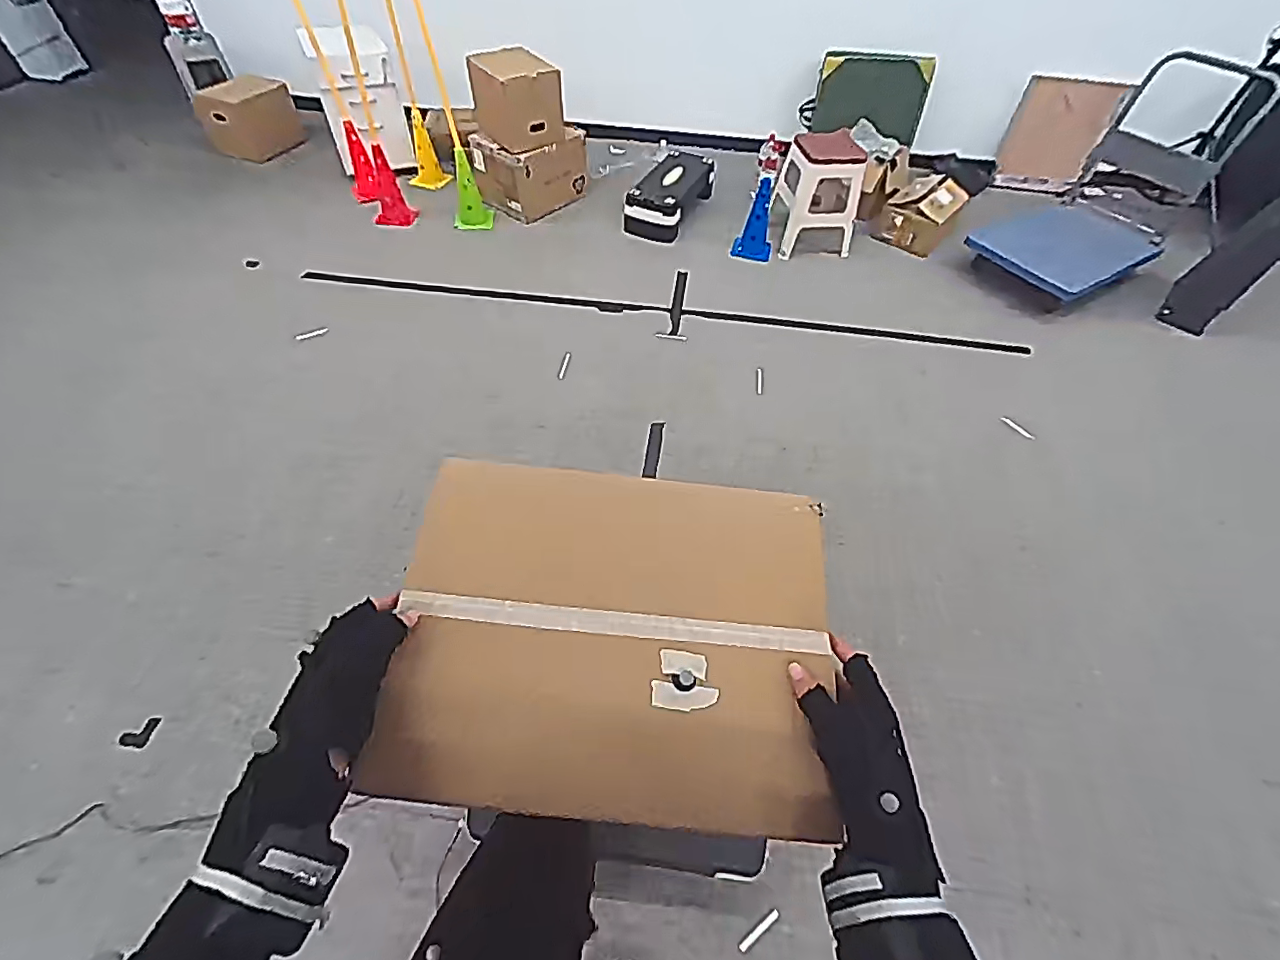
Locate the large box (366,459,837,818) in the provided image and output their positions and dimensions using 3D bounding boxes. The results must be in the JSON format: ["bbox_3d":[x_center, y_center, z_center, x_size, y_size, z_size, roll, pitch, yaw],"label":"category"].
[{"bbox_3d":[-0.030,0.199,0.648,0.408,0.320,0.320,7,63,-1],"label":"large box"}]
